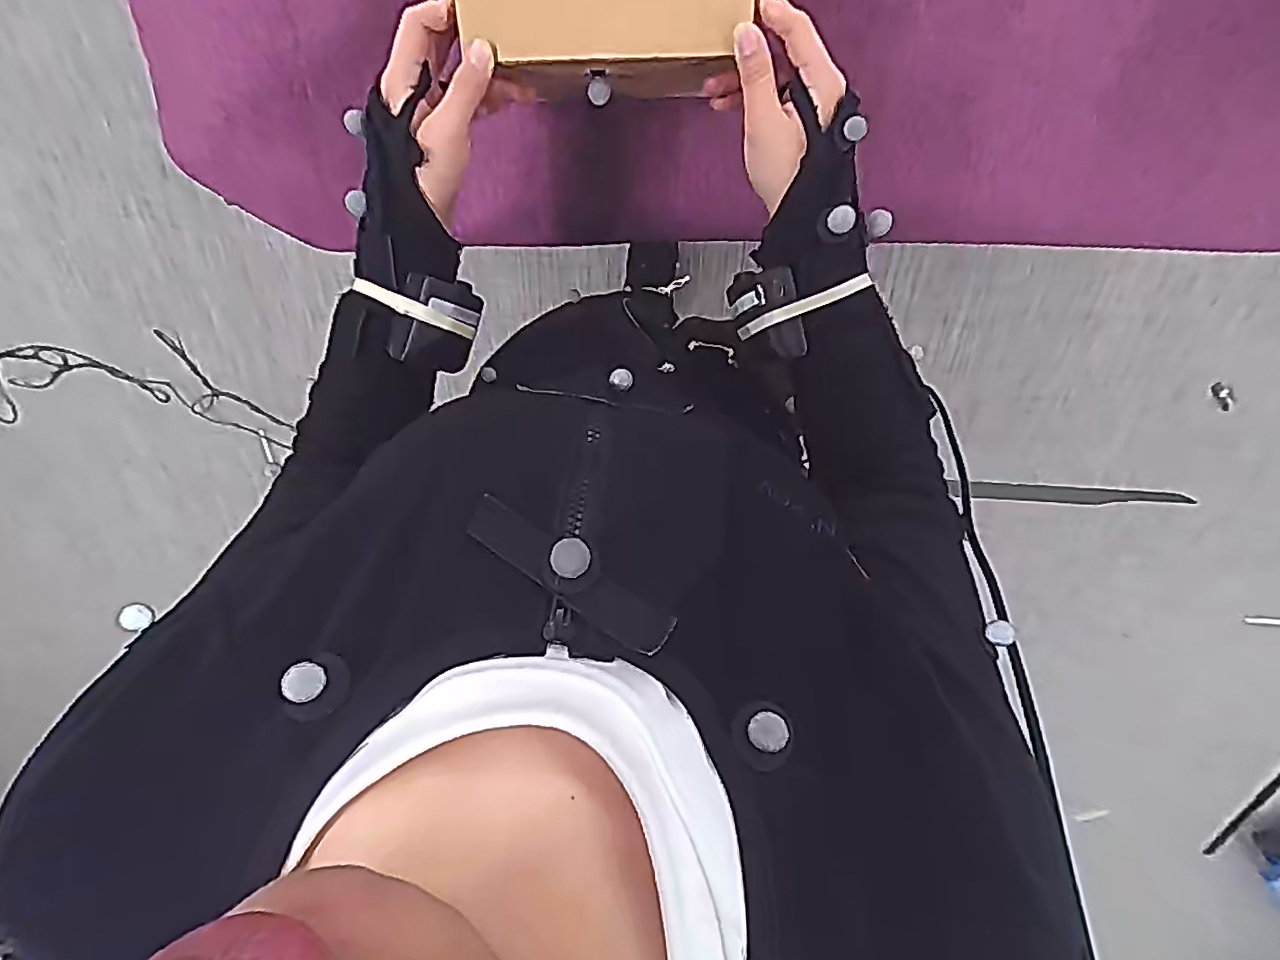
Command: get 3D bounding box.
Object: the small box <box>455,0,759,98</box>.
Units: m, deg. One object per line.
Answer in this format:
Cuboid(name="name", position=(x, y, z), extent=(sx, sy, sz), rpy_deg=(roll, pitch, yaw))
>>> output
Cuboid(name="small box", position=(-0.017, -0.359, 0.349), extent=(0.179, 0.176, 0.168), rpy_deg=(1, 119, 3))
